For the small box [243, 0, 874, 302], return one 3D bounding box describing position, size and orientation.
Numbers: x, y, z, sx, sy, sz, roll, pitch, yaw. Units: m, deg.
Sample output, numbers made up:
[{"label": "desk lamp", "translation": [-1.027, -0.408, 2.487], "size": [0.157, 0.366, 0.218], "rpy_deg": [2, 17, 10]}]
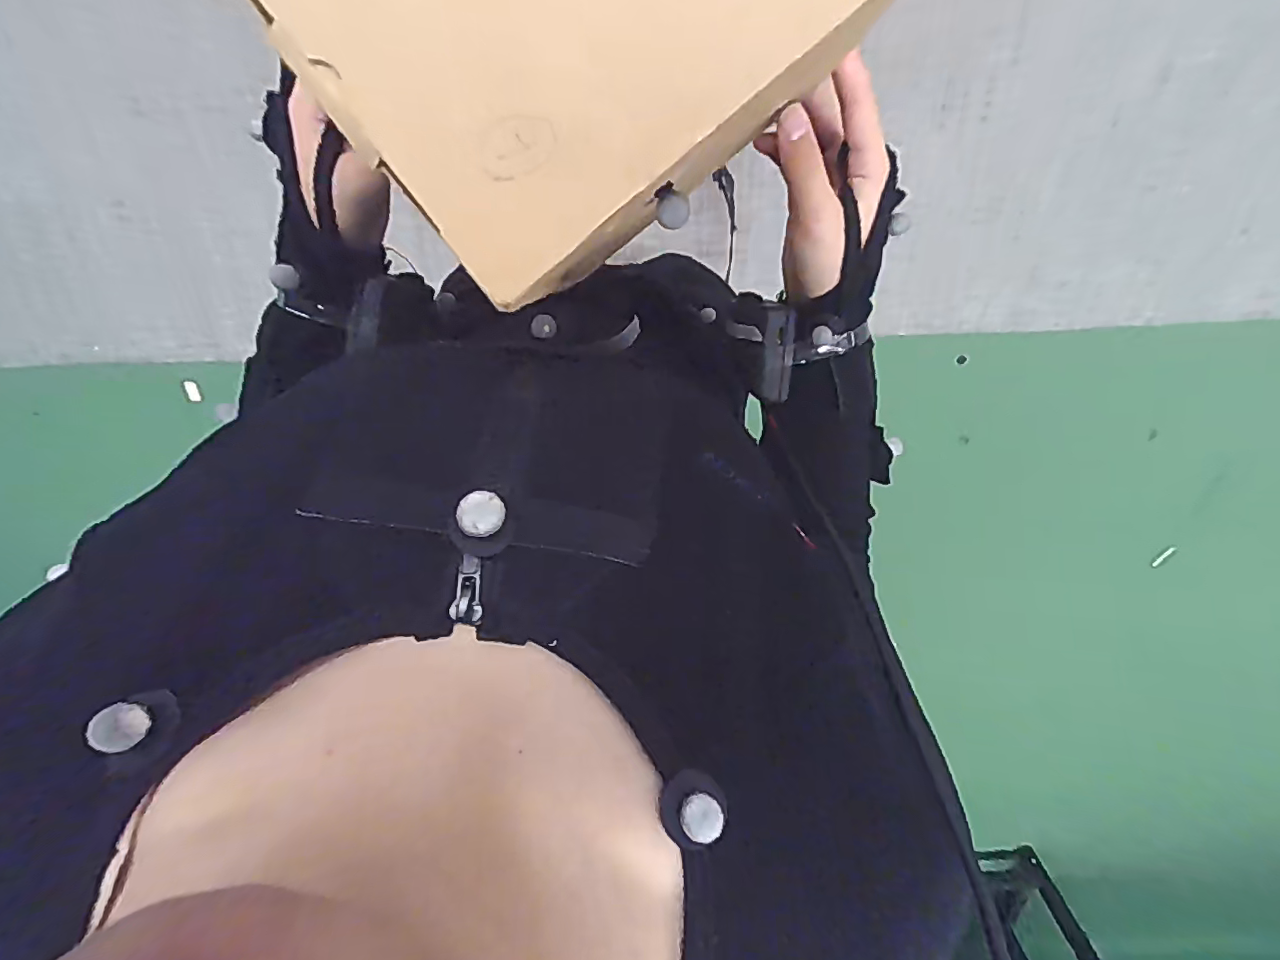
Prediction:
[{"label": "small box", "translation": [-0.026, -0.197, 0.222], "size": [0.179, 0.176, 0.168], "rpy_deg": [-33, 107, 16]}]
